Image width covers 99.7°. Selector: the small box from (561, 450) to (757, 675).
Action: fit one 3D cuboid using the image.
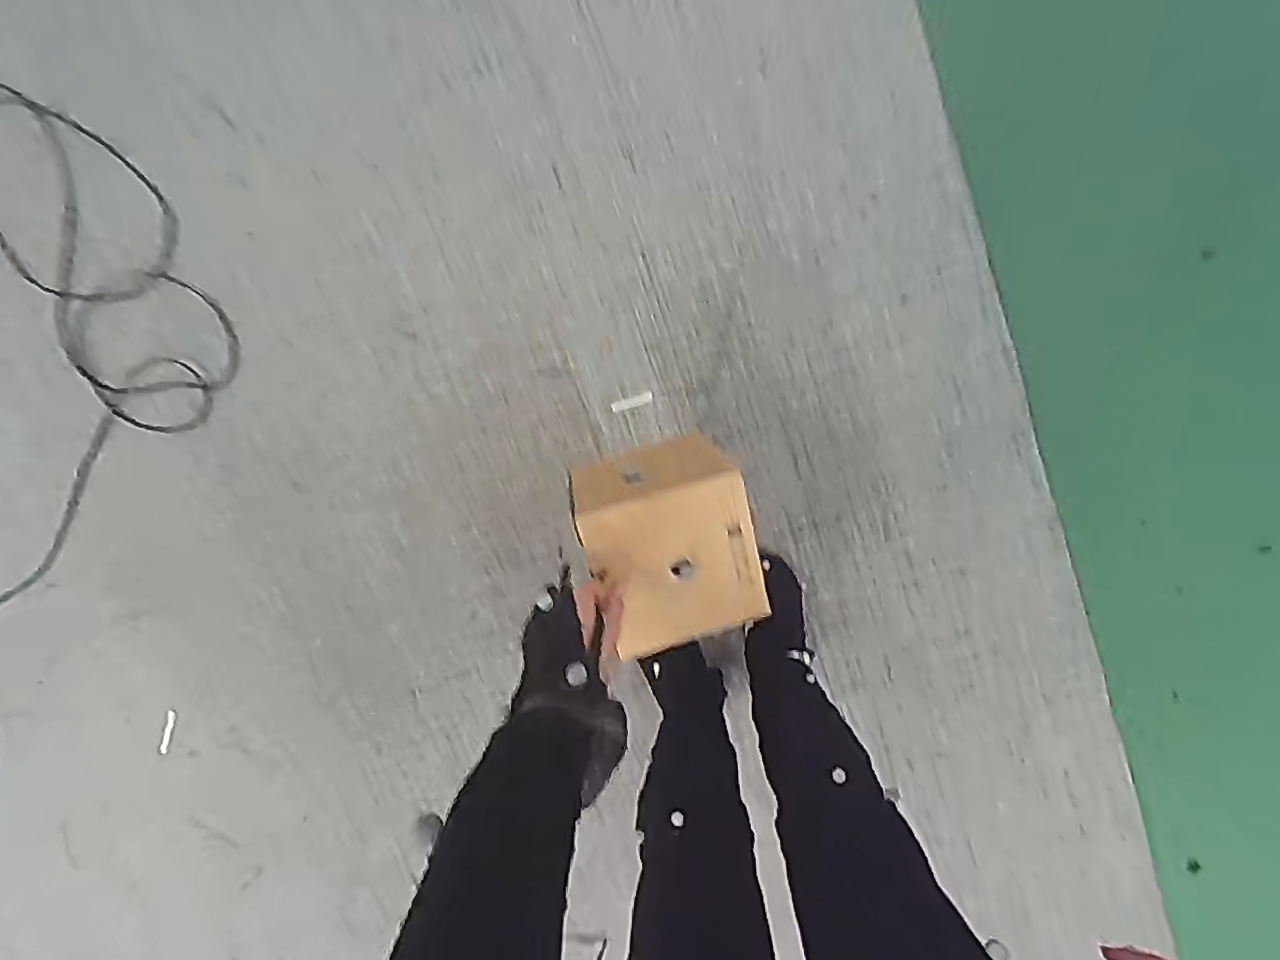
[{"bbox_3d":[0.021,0.078,0.611,0.176,0.179,0.168,-18,108,-5],"label":"small box"}]
